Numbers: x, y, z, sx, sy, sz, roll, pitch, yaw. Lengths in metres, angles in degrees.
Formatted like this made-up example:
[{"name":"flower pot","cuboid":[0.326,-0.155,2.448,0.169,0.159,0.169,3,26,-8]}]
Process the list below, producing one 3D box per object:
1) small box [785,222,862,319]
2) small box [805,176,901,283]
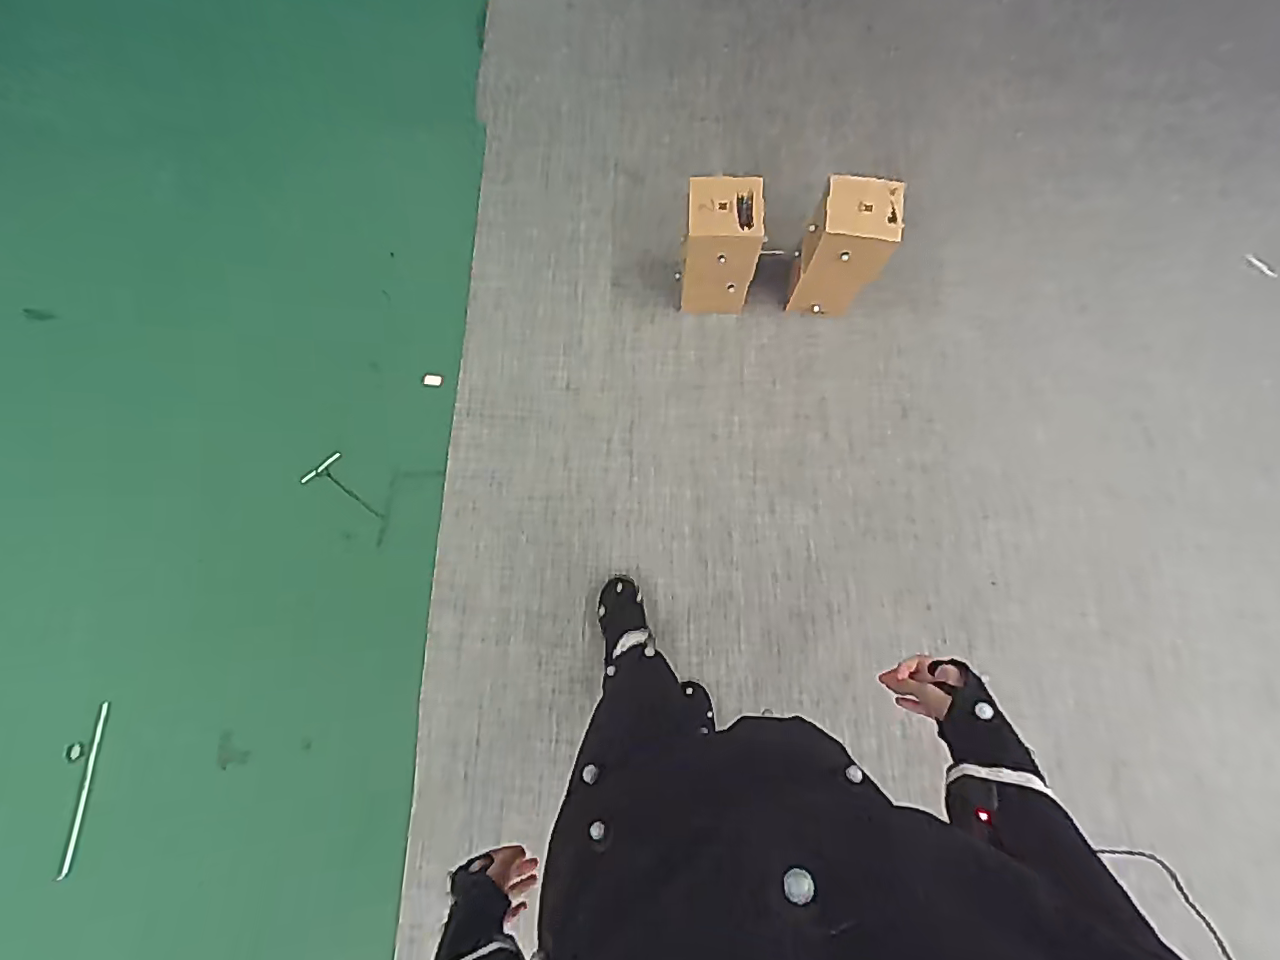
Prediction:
[{"name":"small box","cuboid":[0.508,-0.575,1.495,0.168,0.176,0.179,9,77,5]},{"name":"small box","cuboid":[0.518,-0.611,1.334,0.179,0.176,0.168,9,77,5]}]
